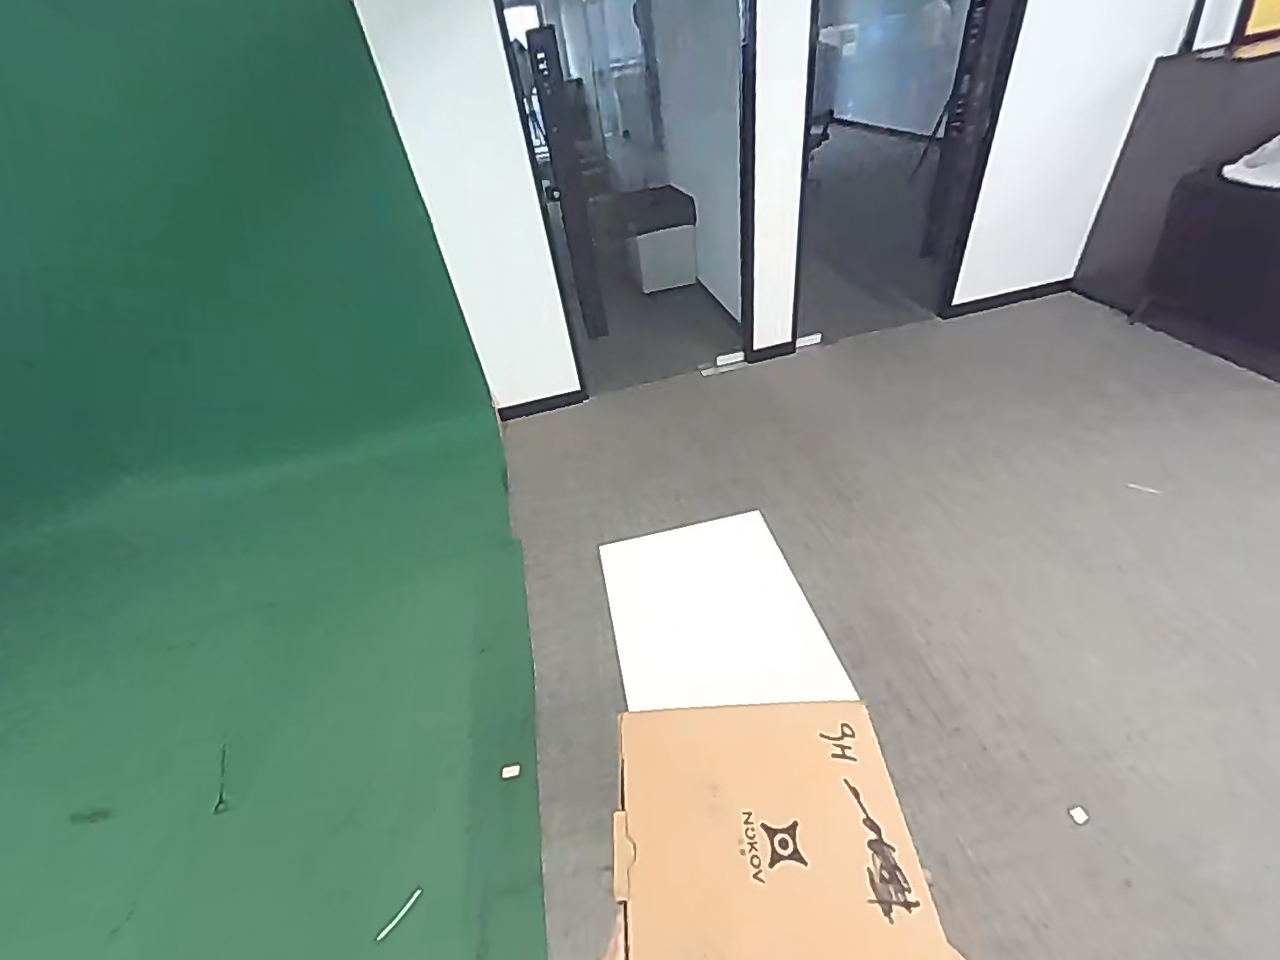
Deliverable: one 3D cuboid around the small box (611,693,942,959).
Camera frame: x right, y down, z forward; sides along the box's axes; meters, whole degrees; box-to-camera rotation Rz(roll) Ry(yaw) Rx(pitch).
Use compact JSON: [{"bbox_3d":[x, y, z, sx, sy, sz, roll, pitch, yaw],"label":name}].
[{"bbox_3d":[0.071,0.270,0.385,0.179,0.176,0.168,-2,45,-2],"label":"small box"}]
